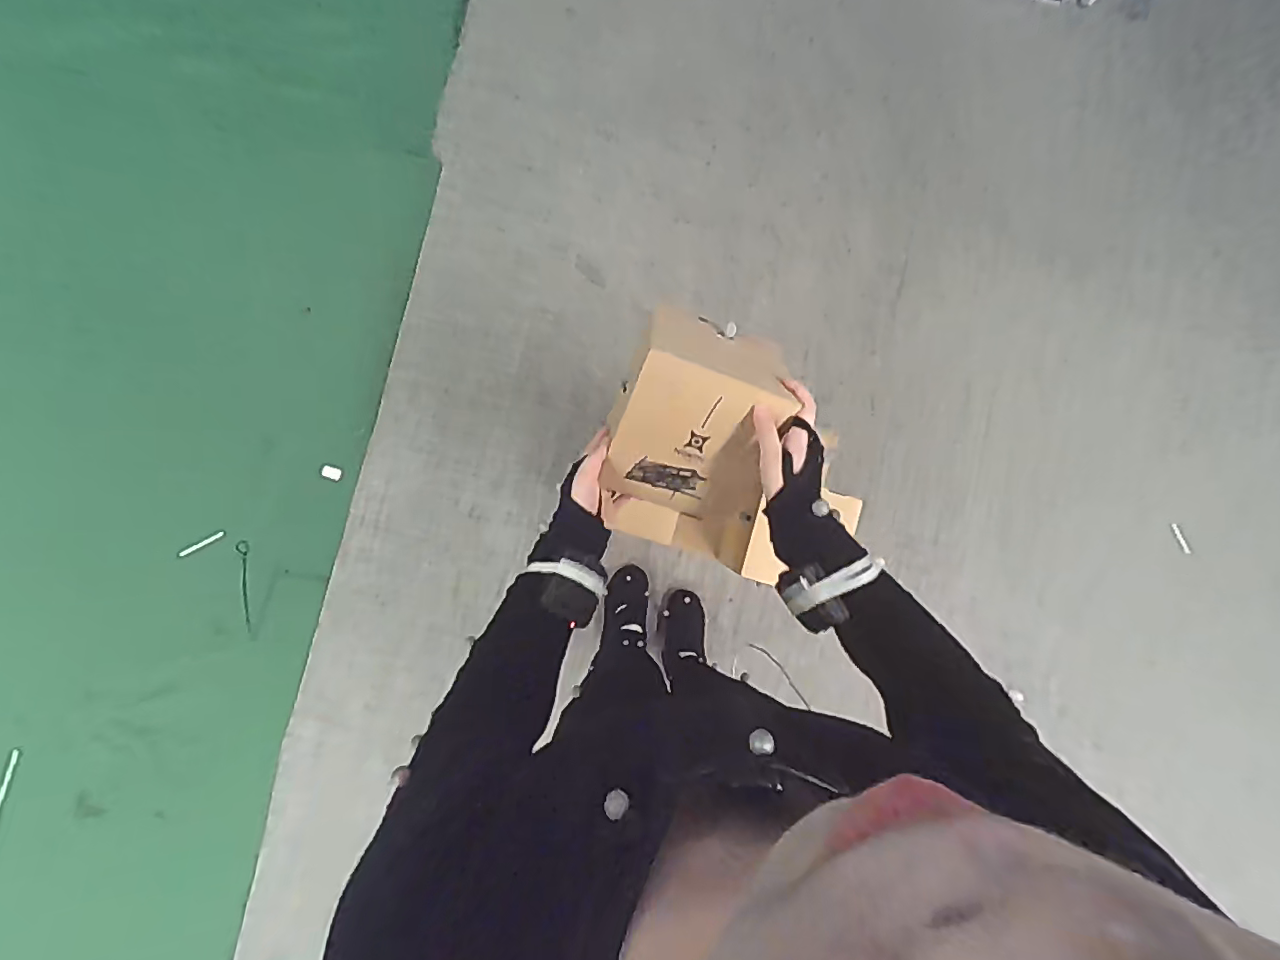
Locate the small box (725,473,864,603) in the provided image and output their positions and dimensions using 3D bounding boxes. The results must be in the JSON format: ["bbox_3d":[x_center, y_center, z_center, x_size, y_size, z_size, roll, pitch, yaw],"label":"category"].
[{"bbox_3d":[0.257,0.096,0.944,0.168,0.176,0.179,16,87,-2],"label":"small box"}]

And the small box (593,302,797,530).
[{"bbox_3d":[0.057,-0.078,0.631,0.168,0.176,0.179,18,125,-10],"label":"small box"}]
